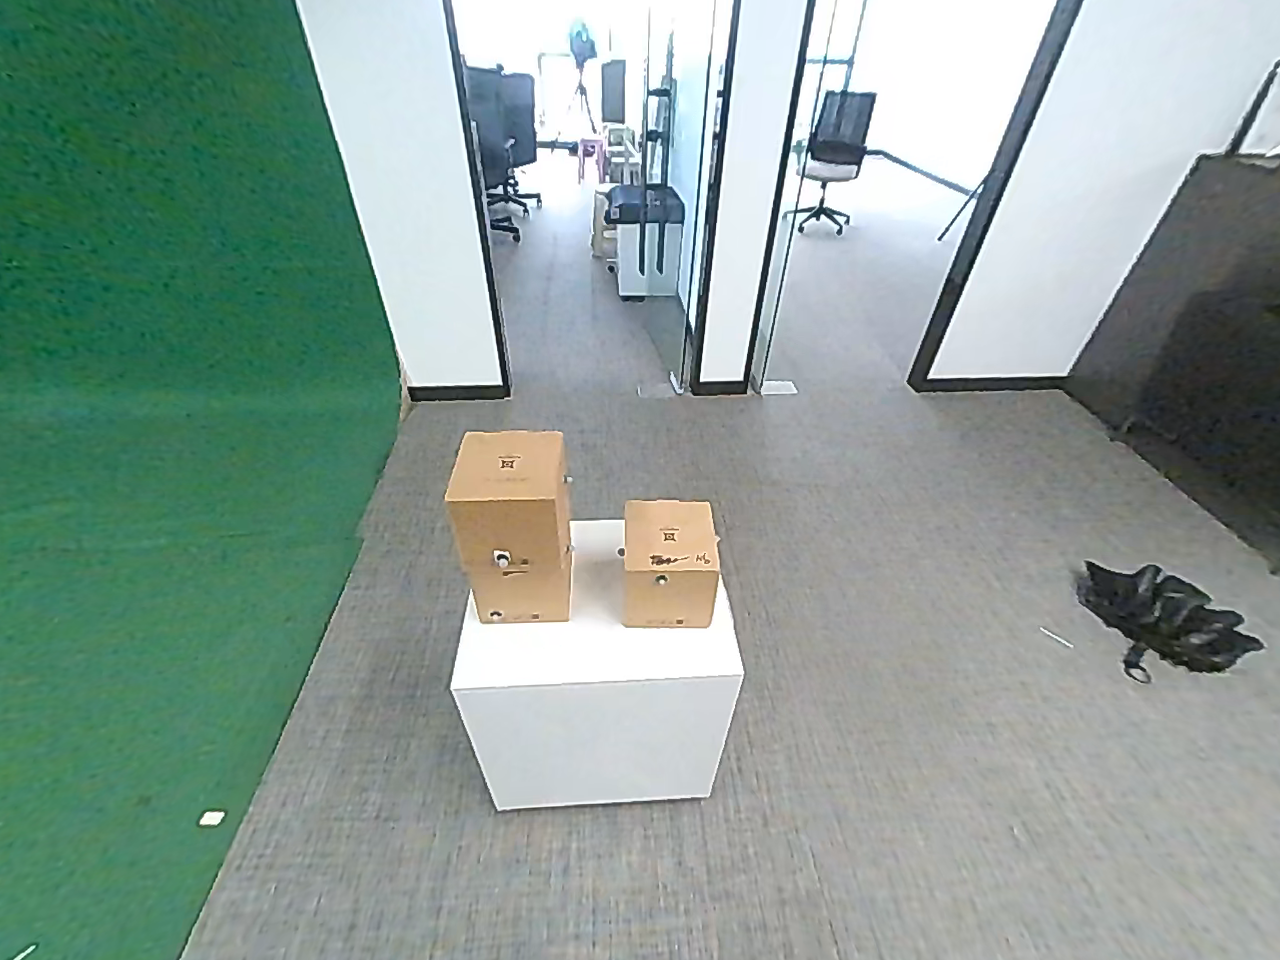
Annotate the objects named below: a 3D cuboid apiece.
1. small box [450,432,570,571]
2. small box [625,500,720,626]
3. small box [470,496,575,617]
[{"bbox_3d":[-0.208,0.035,0.919,0.168,0.176,0.179,-2,42,-3],"label":"small box"},{"bbox_3d":[0.055,0.157,1.034,0.168,0.176,0.179,0,40,0],"label":"small box"},{"bbox_3d":[-0.213,0.147,1.036,0.168,0.176,0.179,0,40,-4],"label":"small box"}]
